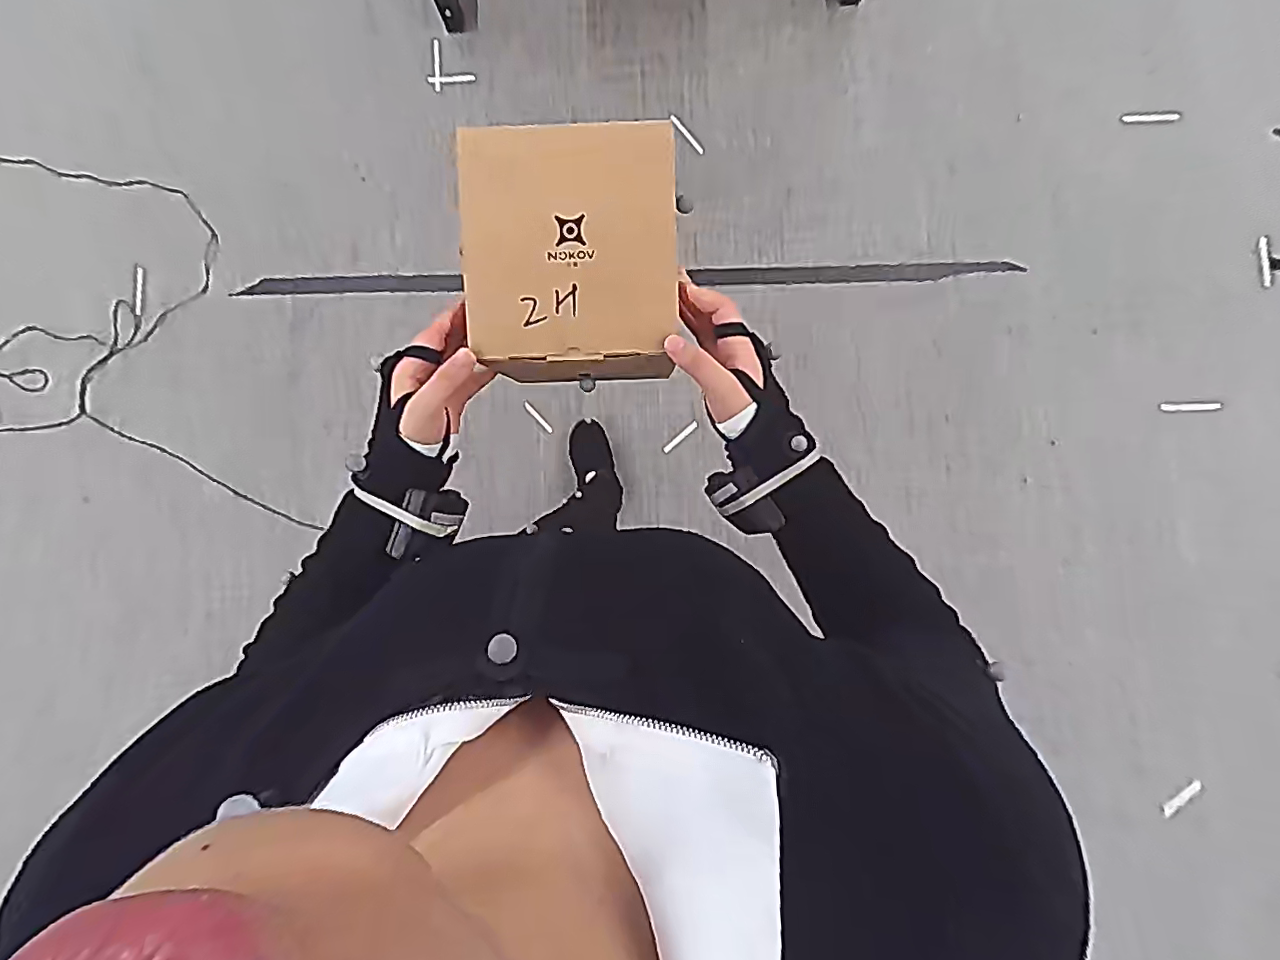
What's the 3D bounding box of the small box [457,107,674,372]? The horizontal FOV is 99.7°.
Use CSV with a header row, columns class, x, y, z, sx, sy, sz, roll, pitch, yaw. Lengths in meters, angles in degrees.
class,x,y,z,sx,sy,sz,roll,pitch,yaw
small box,-0.057,-0.200,0.495,0.168,0.176,0.179,-2,94,1
